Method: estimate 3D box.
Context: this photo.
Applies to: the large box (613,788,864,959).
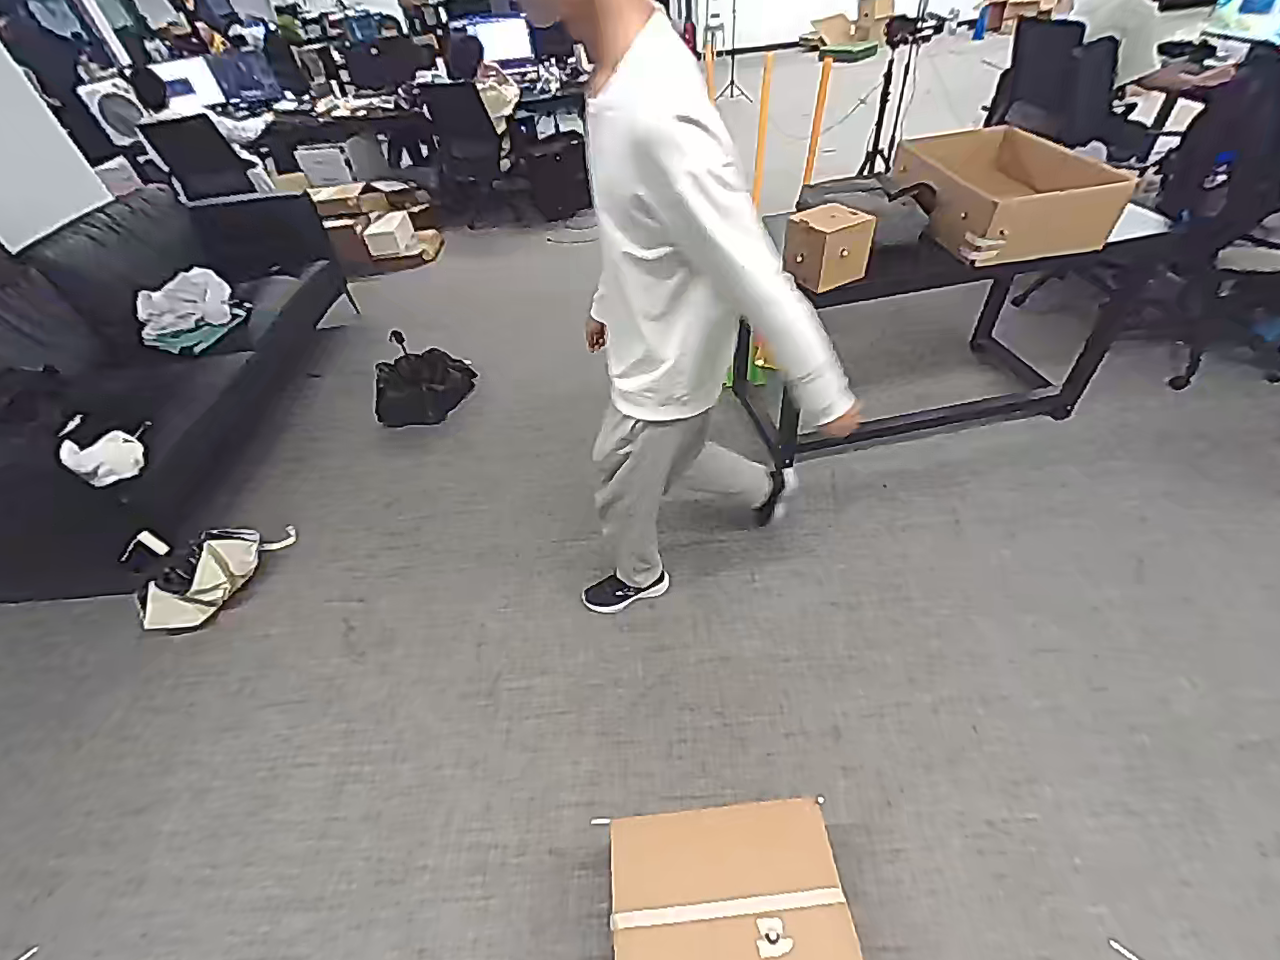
[{"bbox_3d":[0.171,0.838,1.047,0.408,0.320,0.320,-7,45,1],"label":"large box"}]
